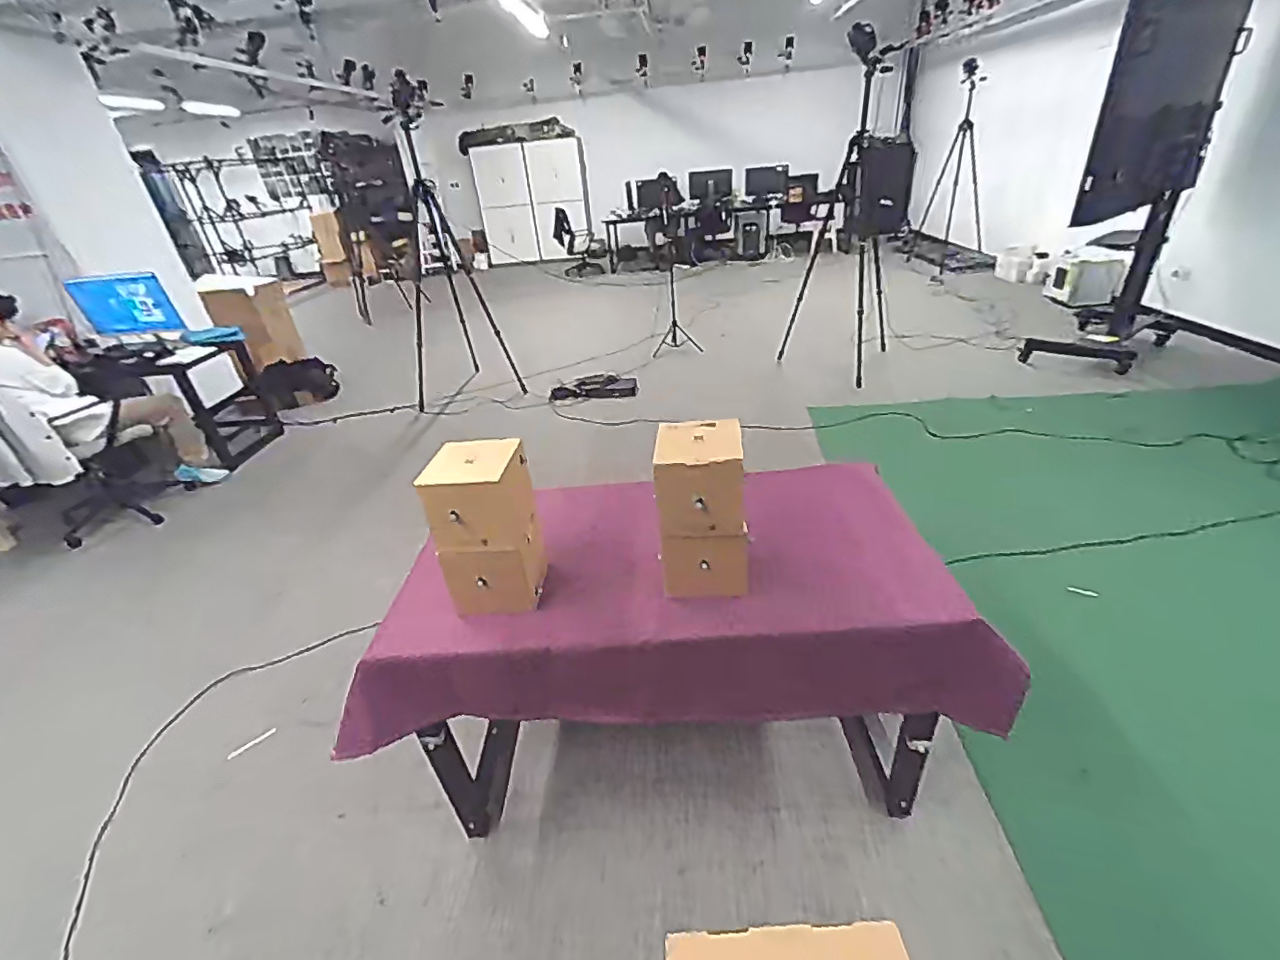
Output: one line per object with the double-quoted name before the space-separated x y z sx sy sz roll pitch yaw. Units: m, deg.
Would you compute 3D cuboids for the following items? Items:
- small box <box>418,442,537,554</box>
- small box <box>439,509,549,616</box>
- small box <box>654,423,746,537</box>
"small box" -0.318 0.039 1.100 0.168 0.176 0.179 -3 30 5
"small box" -0.305 0.180 1.180 0.179 0.176 0.168 -4 30 5
"small box" 0.124 0.002 1.077 0.168 0.176 0.179 -1 32 8
